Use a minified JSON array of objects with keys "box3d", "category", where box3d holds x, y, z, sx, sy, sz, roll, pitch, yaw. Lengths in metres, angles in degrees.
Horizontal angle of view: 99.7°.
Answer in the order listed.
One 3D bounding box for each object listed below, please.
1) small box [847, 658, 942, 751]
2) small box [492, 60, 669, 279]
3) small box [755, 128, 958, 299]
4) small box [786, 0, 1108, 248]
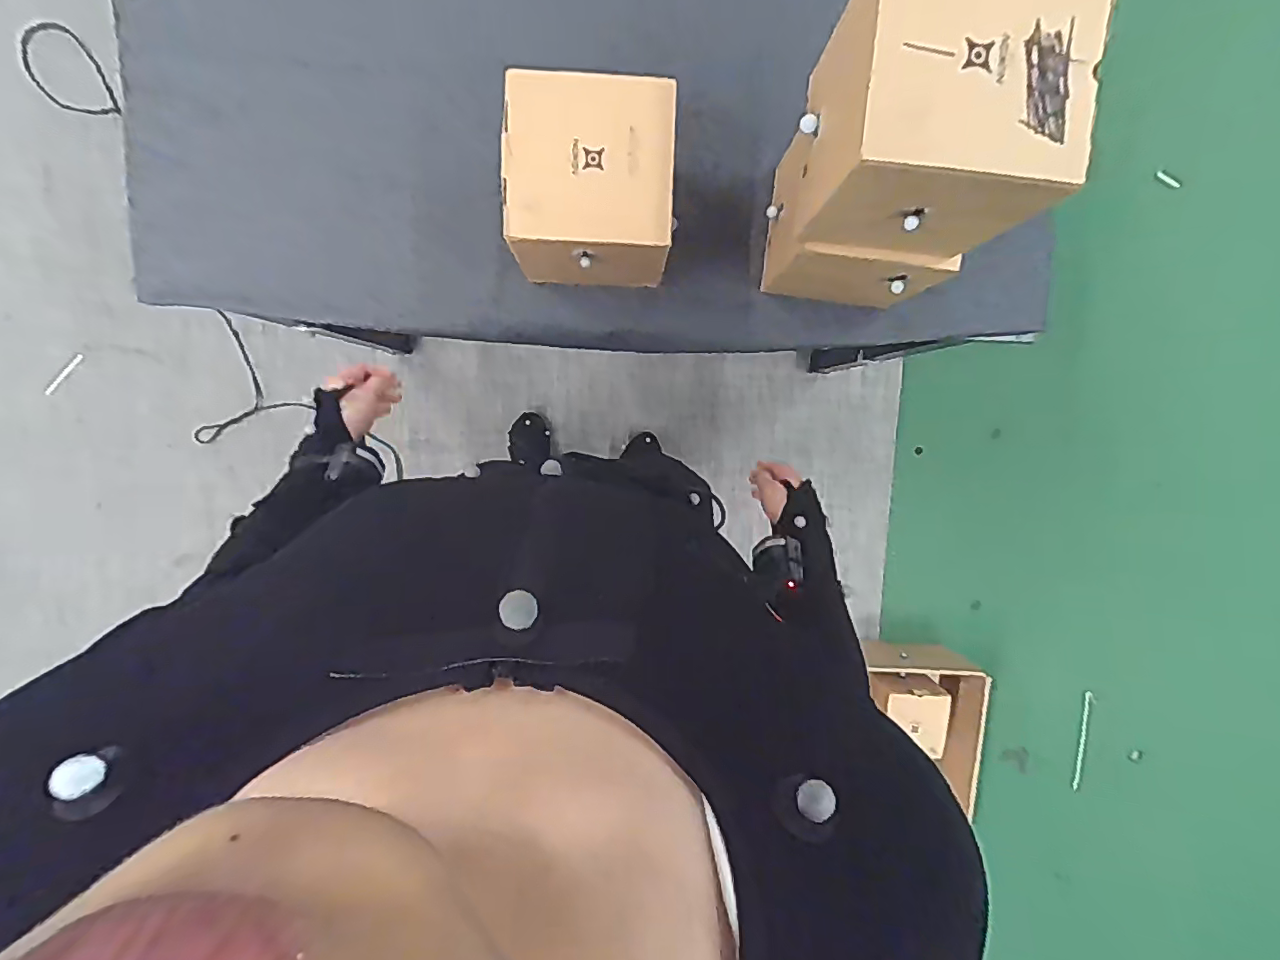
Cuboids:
[{"box3d":[0.681,0.600,1.464,0.168,0.176,0.179,4,97,-3],"category":"small box"},{"box3d":[-0.064,-0.338,0.623,0.179,0.176,0.168,1,96,-4],"category":"small box"},{"box3d":[0.251,-0.321,0.636,0.179,0.176,0.168,7,95,-3],"category":"small box"},{"box3d":[0.245,-0.317,0.472,0.179,0.176,0.168,5,95,-2],"category":"small box"}]
